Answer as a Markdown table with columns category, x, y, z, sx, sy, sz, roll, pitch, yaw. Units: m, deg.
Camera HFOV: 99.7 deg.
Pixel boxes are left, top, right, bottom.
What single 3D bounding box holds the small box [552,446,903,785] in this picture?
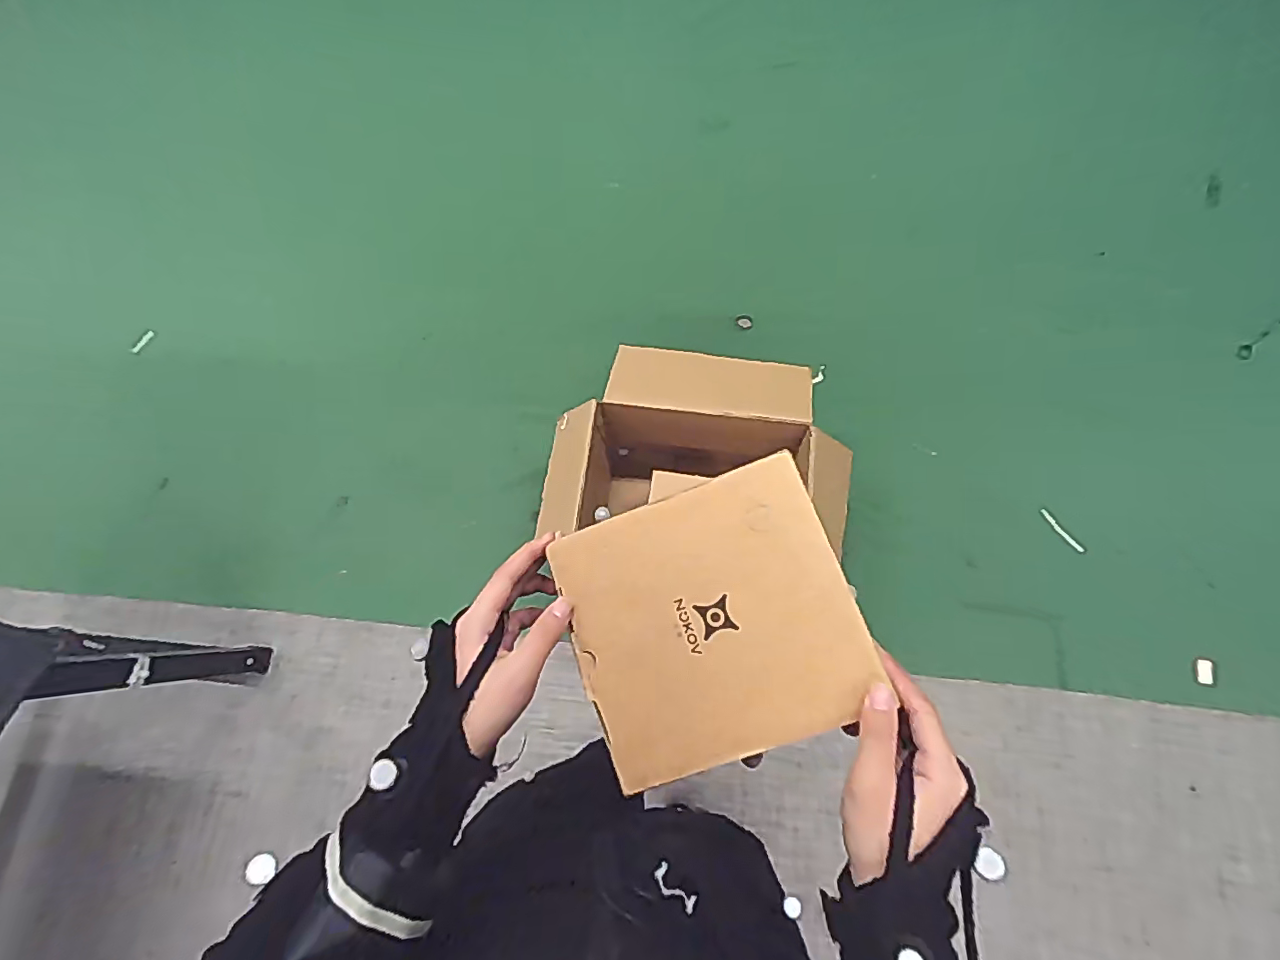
| category | x | y | z | sx | sy | sz | roll | pitch | yaw |
| --- | --- | --- | --- | --- | --- | --- | --- | --- | --- |
| small box | 0.060 | 0.092 | 0.413 | 0.179 | 0.176 | 0.168 | -22 | 78 | 7 |
